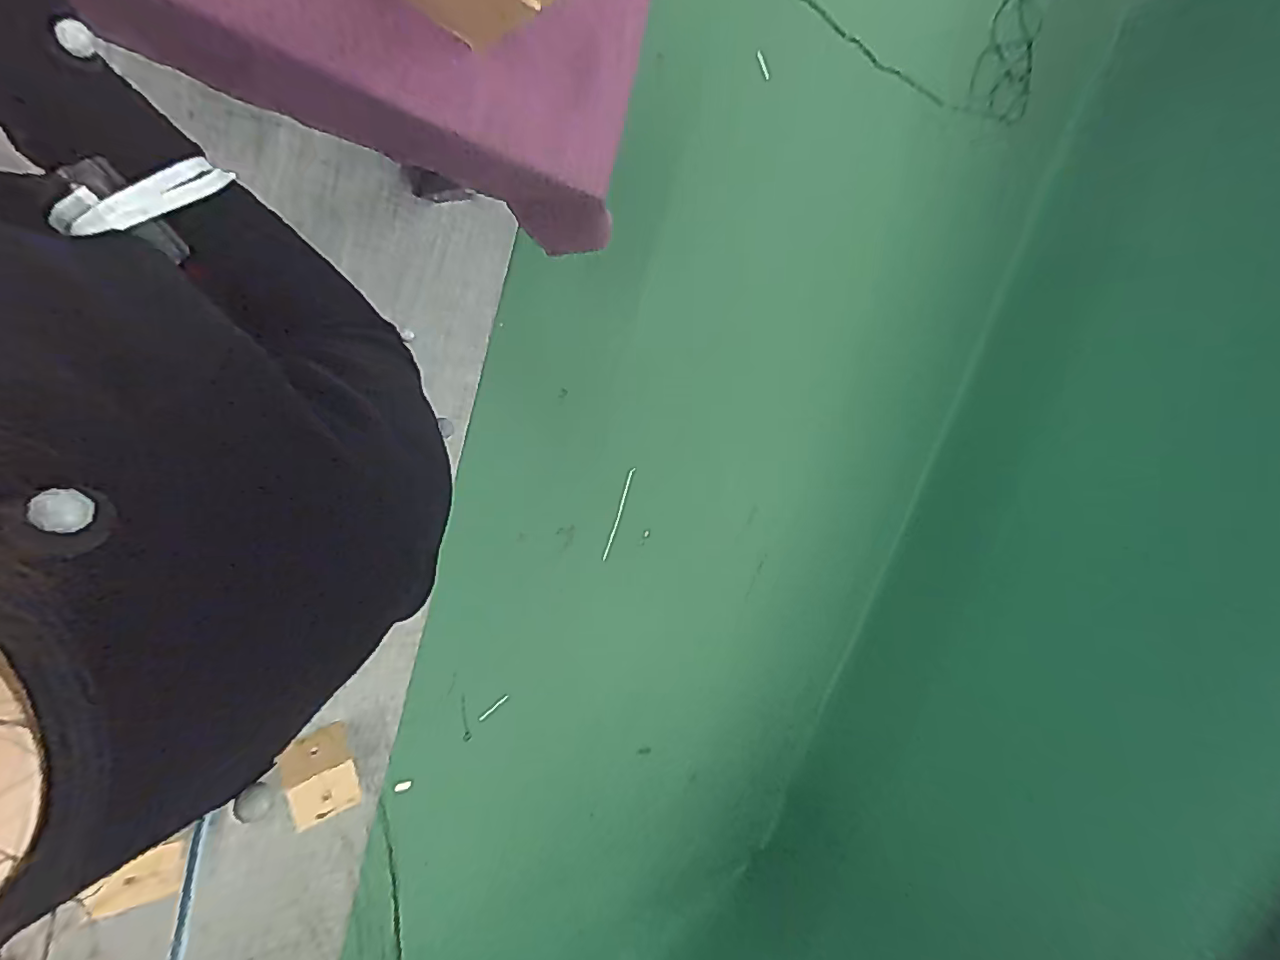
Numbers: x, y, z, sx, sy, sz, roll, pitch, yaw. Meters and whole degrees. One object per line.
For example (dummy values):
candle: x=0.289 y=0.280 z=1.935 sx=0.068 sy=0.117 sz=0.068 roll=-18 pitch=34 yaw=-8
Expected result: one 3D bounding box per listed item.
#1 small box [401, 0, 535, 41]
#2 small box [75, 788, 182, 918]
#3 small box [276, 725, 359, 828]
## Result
small box: x=-0.190 y=-0.569 z=0.515 sx=0.179 sy=0.176 sz=0.168 roll=11 pitch=103 yaw=-43
small box: x=-1.250 y=0.906 z=1.331 sx=0.179 sy=0.176 sz=0.168 roll=5 pitch=108 yaw=-41
small box: x=-0.936 y=0.845 z=1.568 sx=0.168 sy=0.176 sz=0.179 roll=-15 pitch=119 yaw=-35
